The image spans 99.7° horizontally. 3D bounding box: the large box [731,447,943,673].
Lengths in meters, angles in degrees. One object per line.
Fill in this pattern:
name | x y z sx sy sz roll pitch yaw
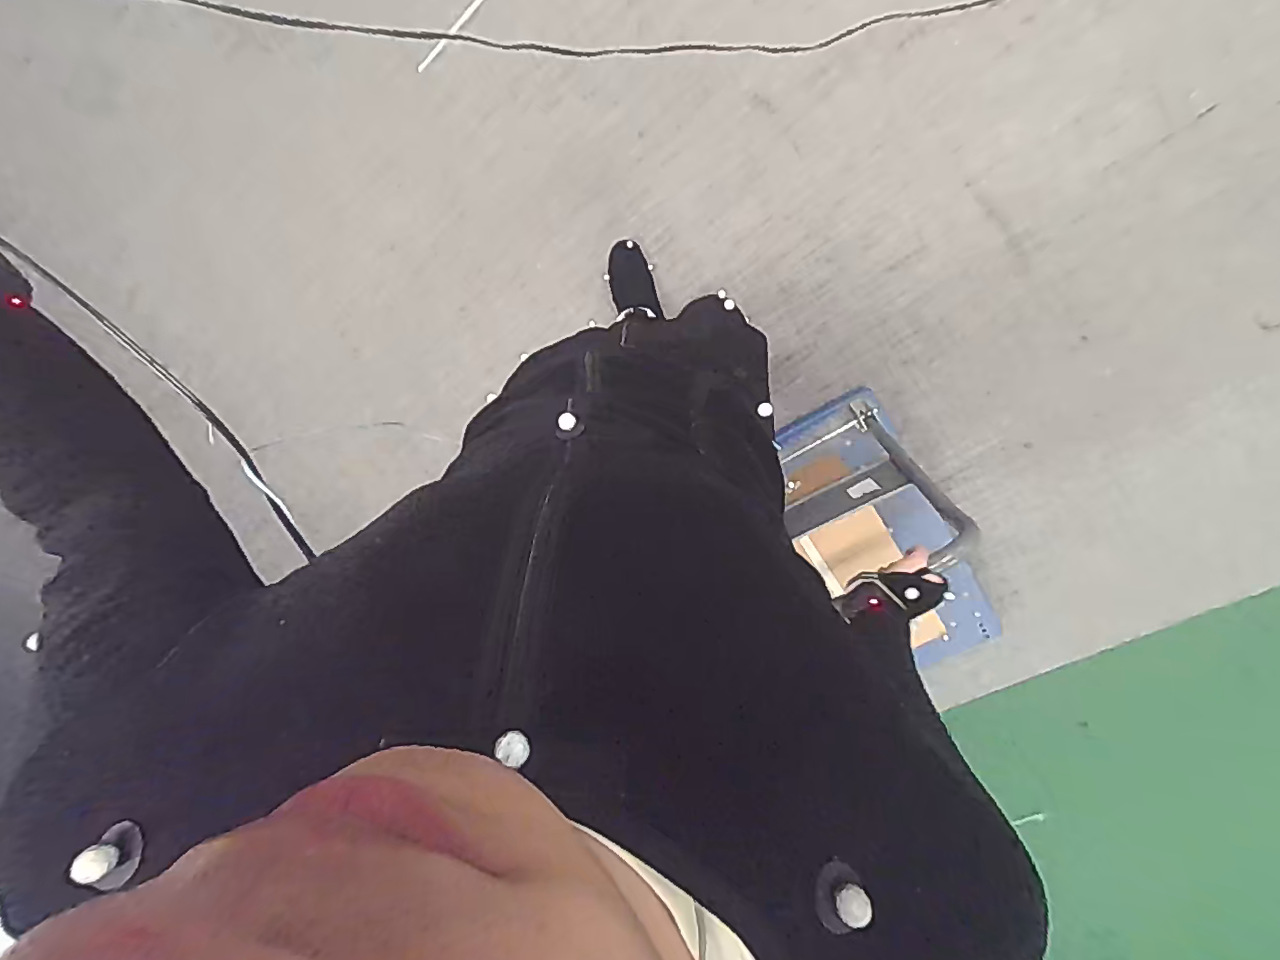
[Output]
large box | 0.473 0.192 1.369 0.320 0.320 0.408 -31 107 18
